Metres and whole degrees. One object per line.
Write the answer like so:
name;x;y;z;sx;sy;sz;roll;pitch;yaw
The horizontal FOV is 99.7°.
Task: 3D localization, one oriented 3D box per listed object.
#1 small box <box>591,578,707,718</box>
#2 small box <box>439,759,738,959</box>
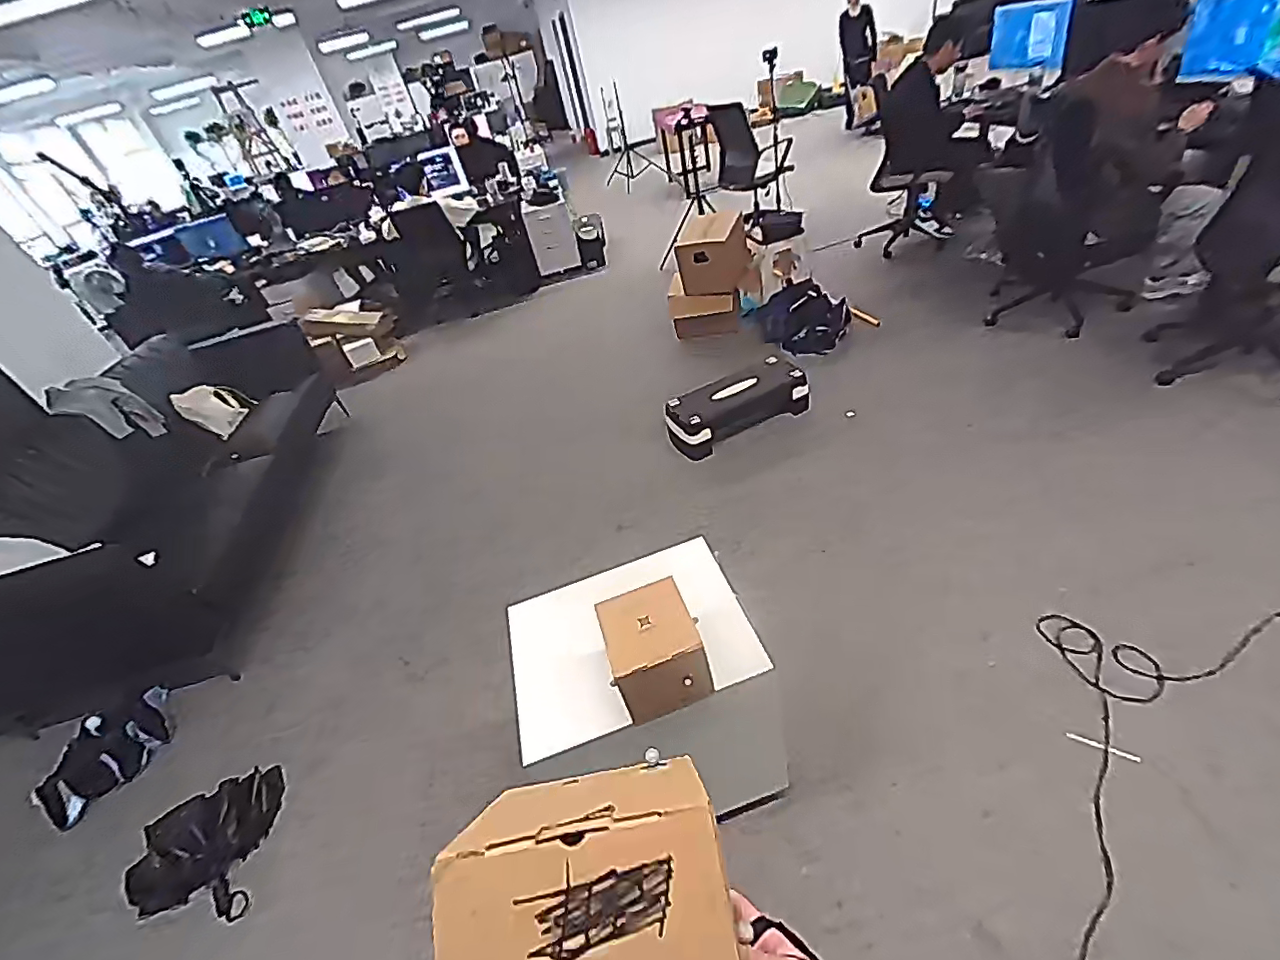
small box;0.019;0.327;1.038;0.168;0.176;0.179;-18;36;-6
small box;-0.026;0.305;0.370;0.168;0.176;0.179;-8;73;-2
